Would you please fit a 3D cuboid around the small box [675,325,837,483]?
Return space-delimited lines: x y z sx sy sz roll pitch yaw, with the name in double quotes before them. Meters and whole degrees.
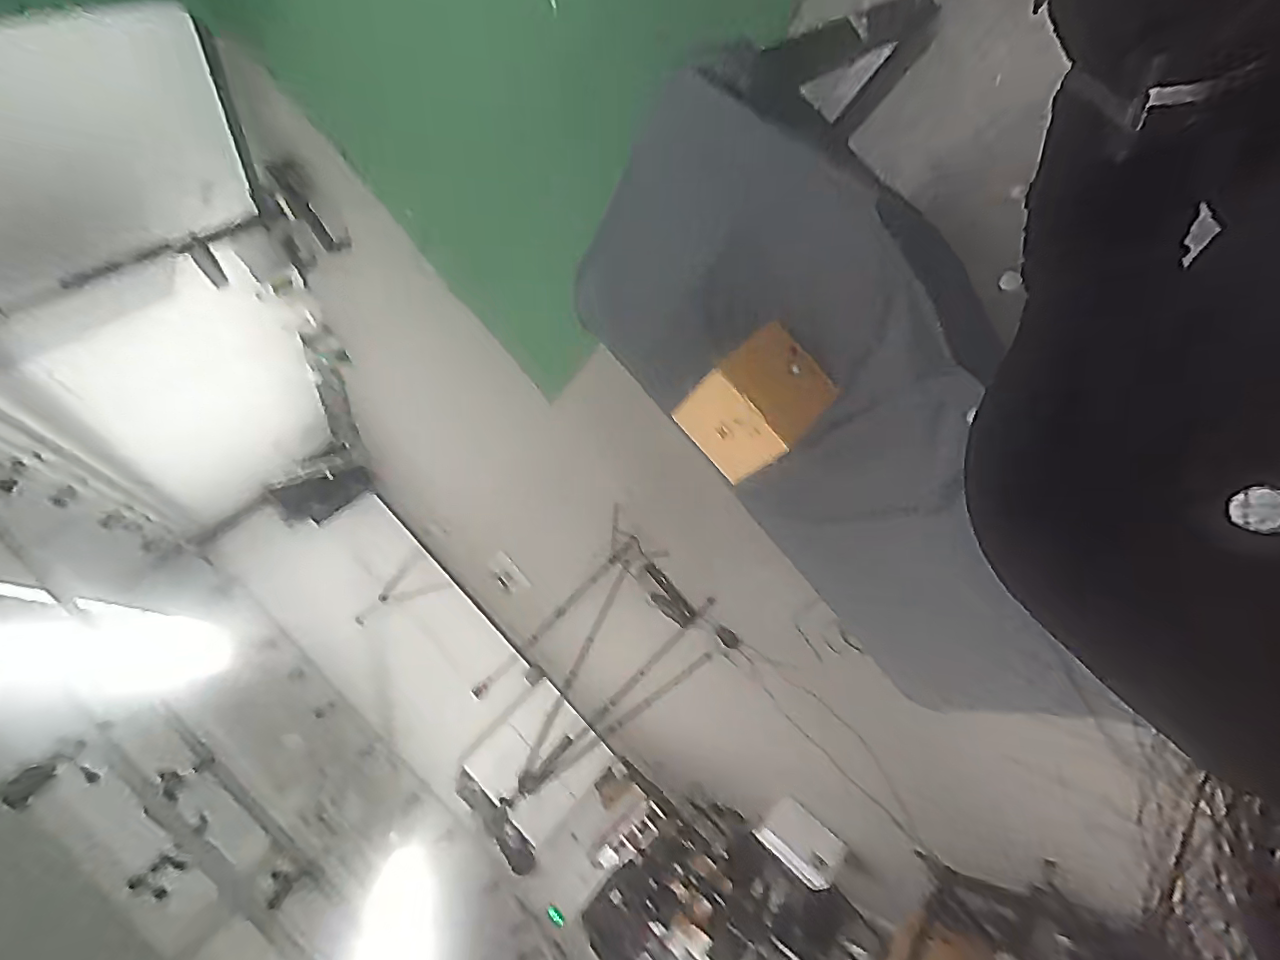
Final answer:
"small box" 0.197 -0.127 0.922 0.168 0.176 0.179 47 151 0
